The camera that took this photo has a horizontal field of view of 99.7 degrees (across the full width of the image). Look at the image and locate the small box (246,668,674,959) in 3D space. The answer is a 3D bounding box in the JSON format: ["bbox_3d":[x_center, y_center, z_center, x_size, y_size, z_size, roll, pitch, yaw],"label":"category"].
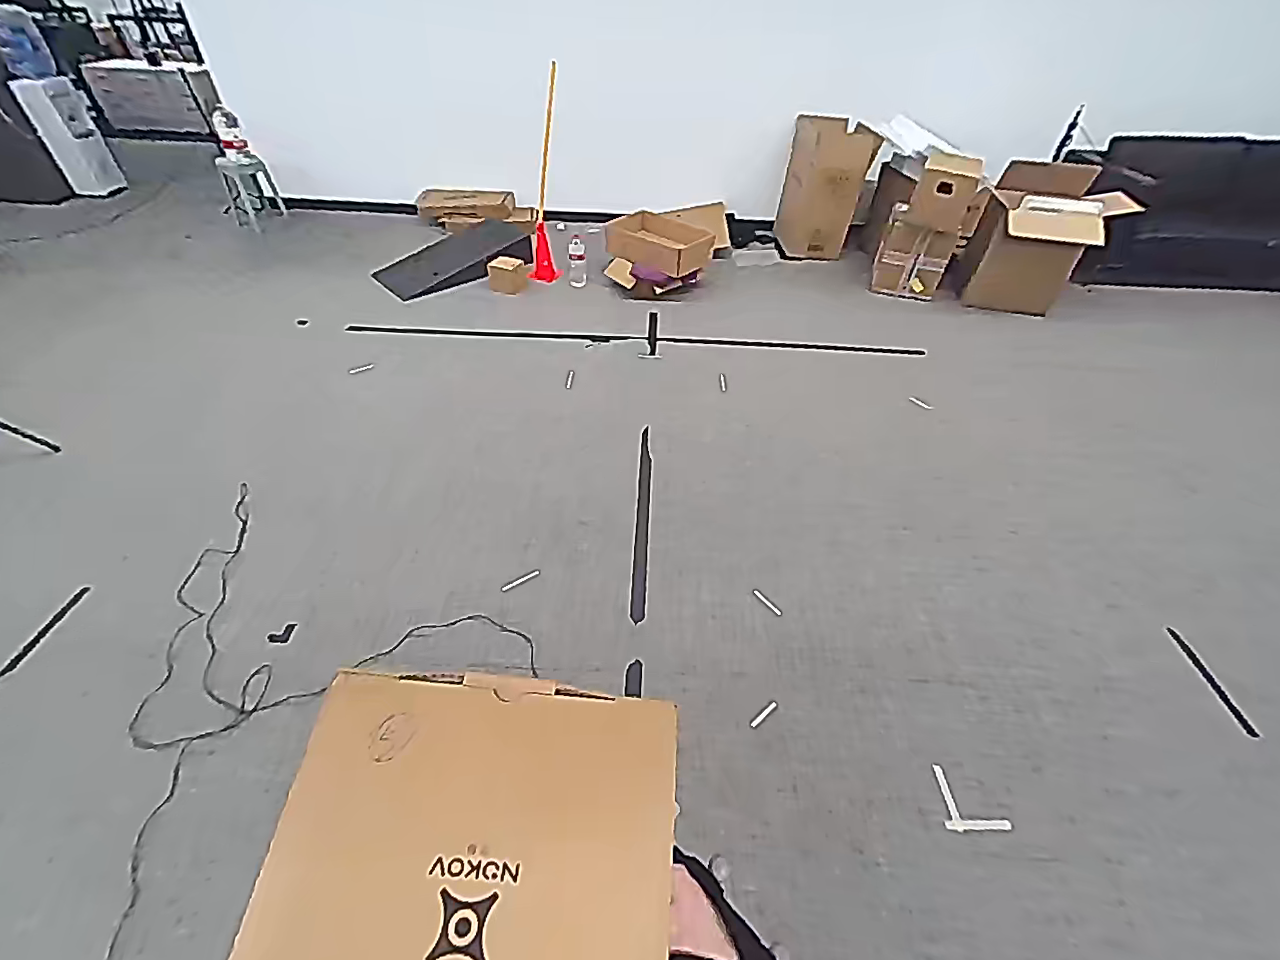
[{"bbox_3d":[-0.080,0.218,0.295,0.168,0.176,0.179,7,59,-3],"label":"small box"}]
